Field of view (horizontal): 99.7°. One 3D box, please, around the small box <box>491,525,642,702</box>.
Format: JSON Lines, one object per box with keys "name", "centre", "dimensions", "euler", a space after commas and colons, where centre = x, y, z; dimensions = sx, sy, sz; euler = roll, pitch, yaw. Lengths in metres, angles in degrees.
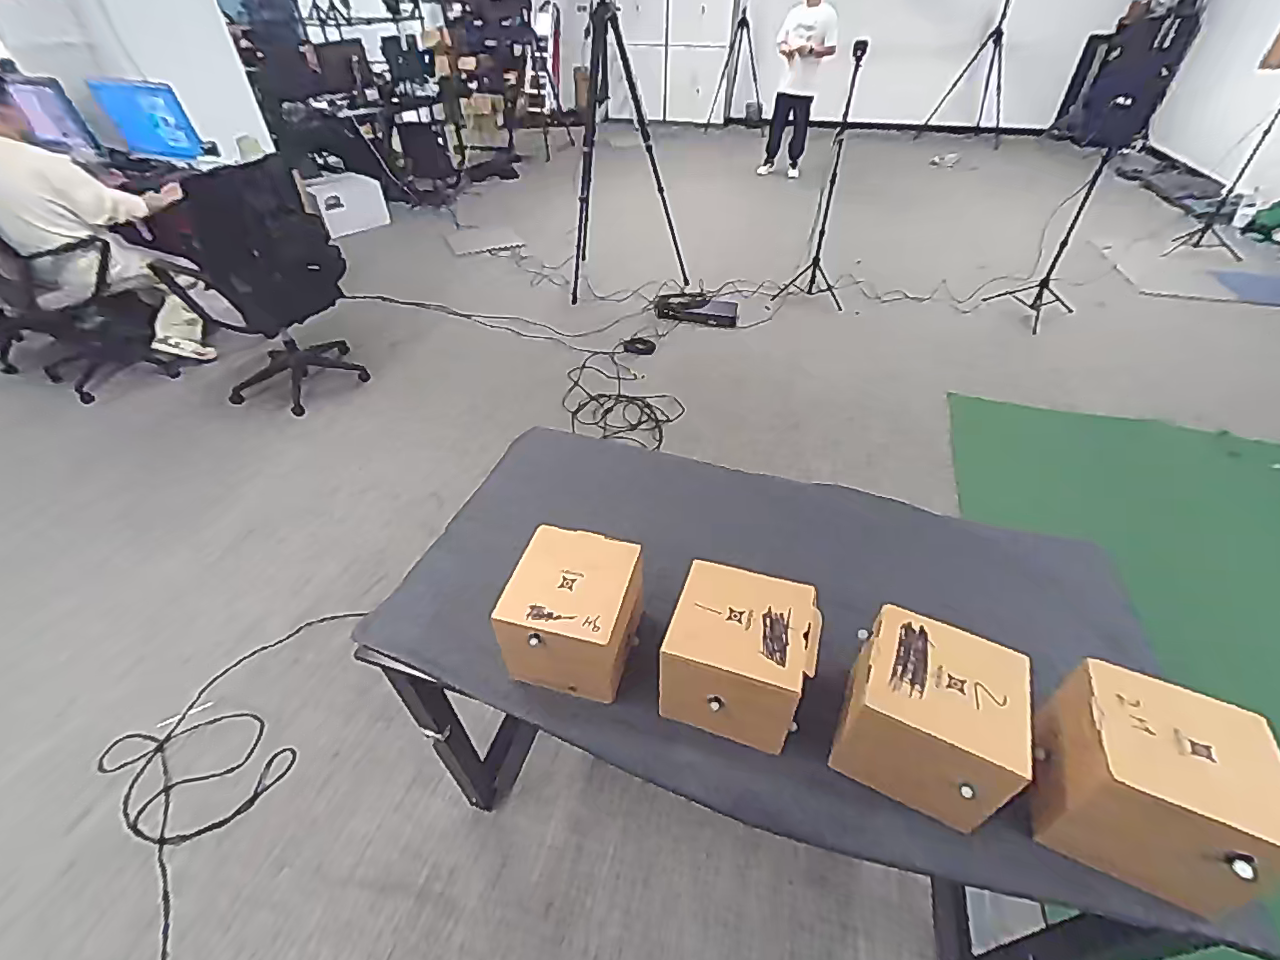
{"name": "small box", "centre": [-0.098, 0.199, 0.814], "dimensions": [0.168, 0.176, 0.179], "euler": [10, 43, 13]}
